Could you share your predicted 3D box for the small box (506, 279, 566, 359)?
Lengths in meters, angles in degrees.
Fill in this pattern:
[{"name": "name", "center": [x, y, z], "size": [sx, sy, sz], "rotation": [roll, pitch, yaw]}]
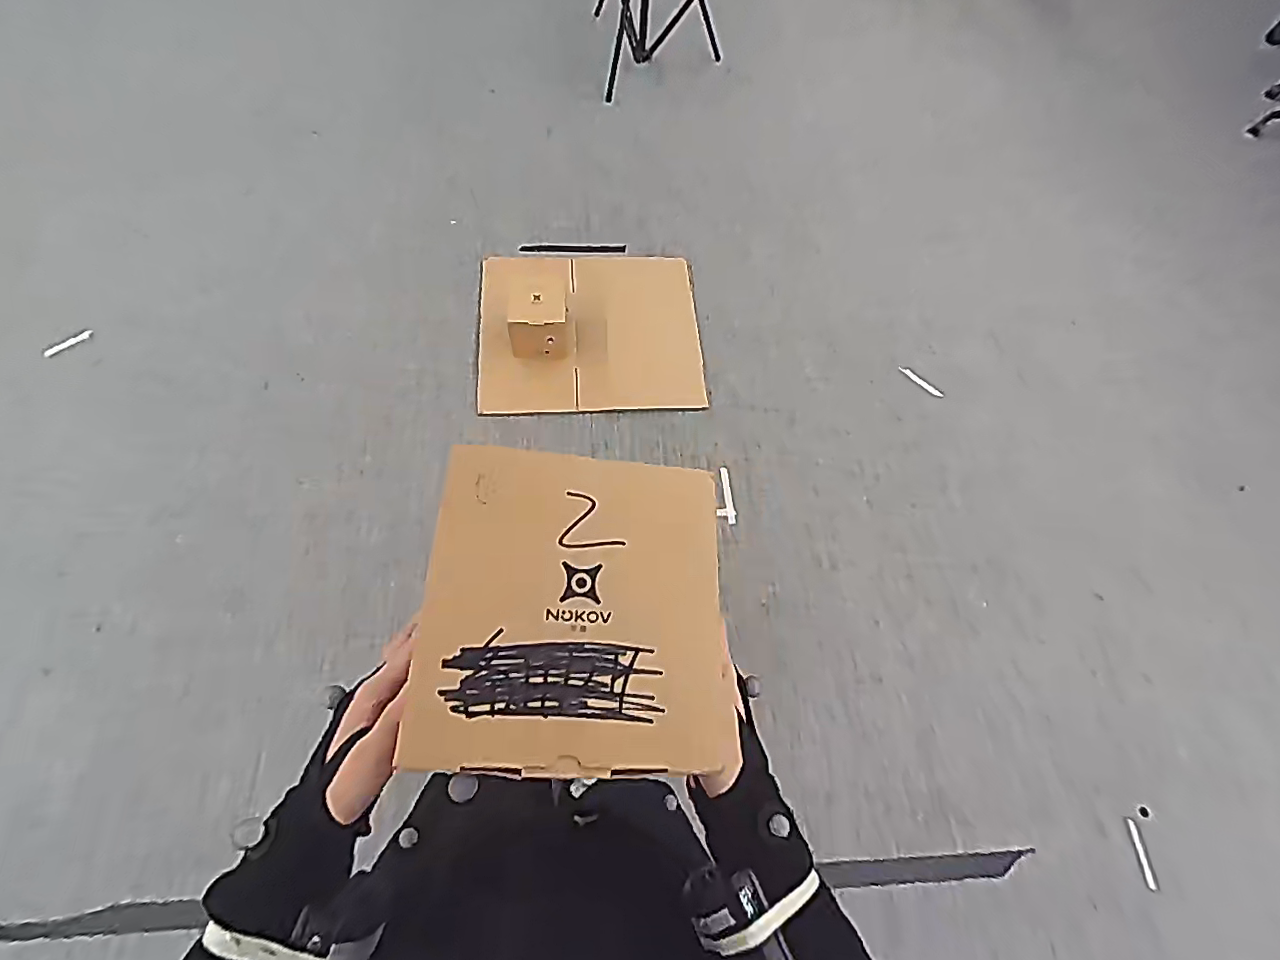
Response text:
[{"name": "small box", "center": [-0.309, -0.484, 1.641], "size": [0.168, 0.176, 0.179], "rotation": [-1, 66, -7]}]
